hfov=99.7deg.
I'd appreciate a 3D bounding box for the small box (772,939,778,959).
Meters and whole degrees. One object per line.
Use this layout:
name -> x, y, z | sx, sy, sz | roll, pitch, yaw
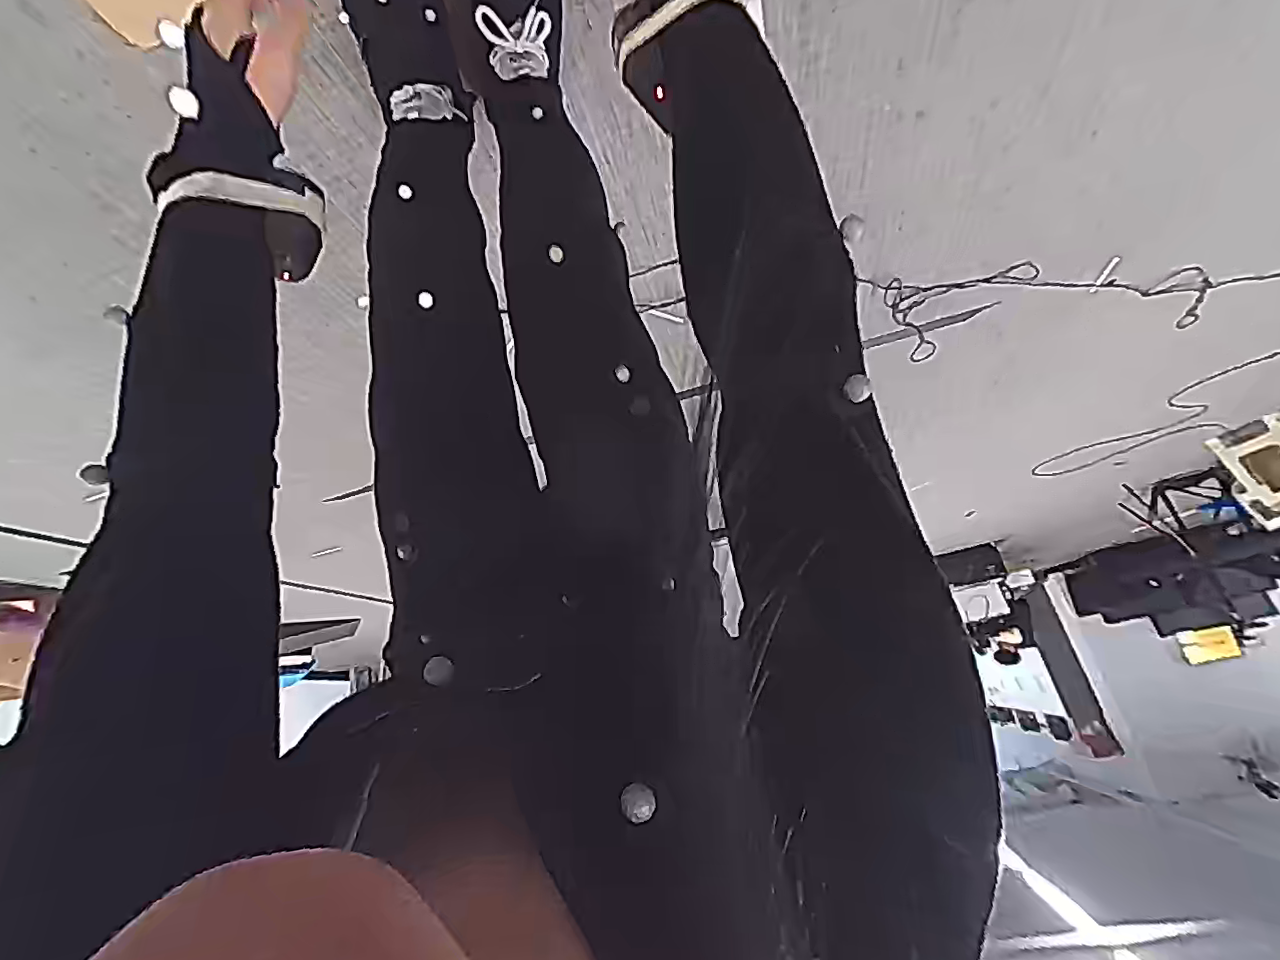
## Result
small box -> 0.370, 1.626, 1.748 | 0.168, 0.176, 0.179 | -14, 159, 10
